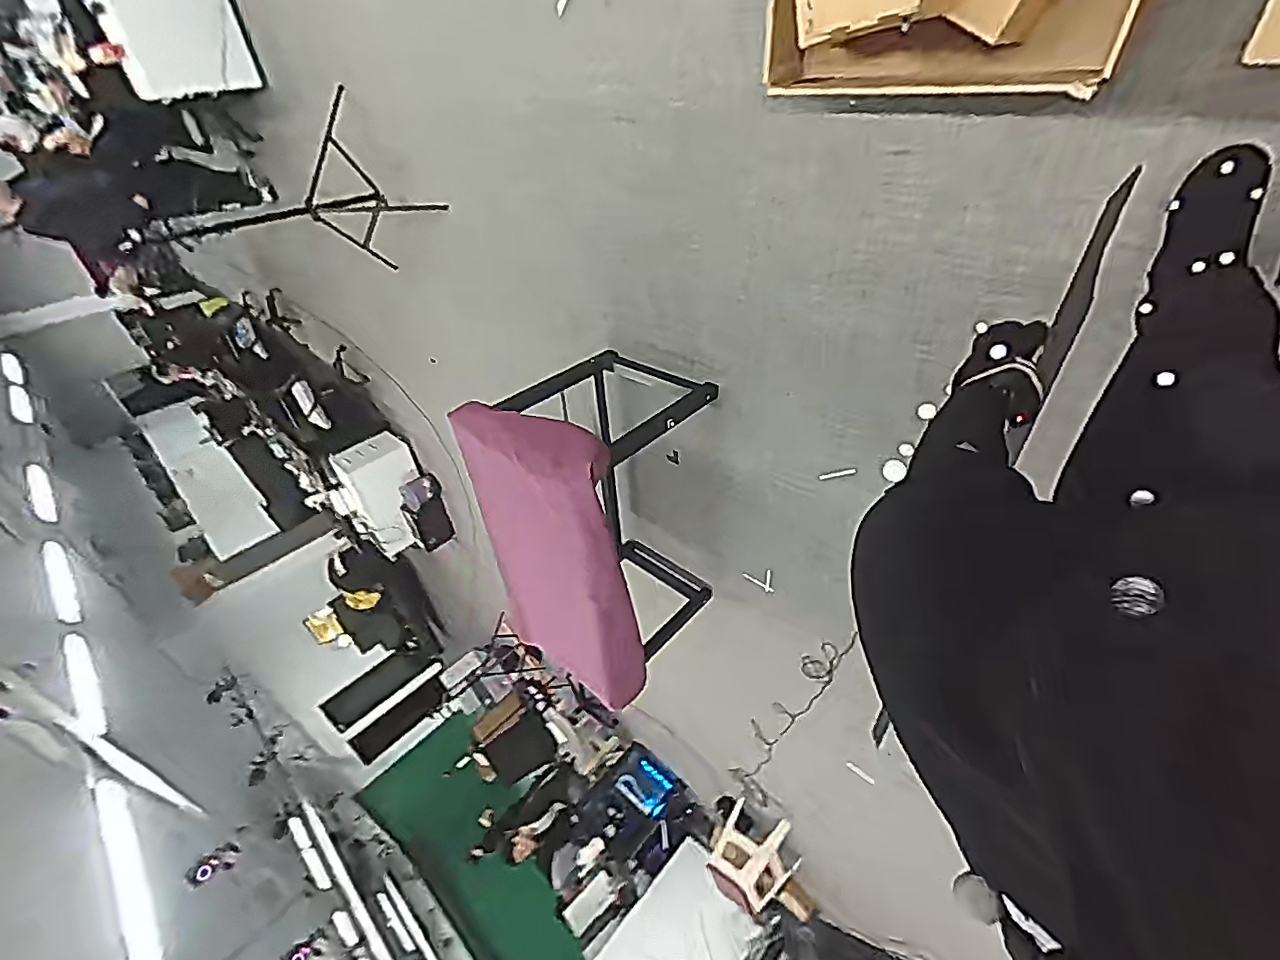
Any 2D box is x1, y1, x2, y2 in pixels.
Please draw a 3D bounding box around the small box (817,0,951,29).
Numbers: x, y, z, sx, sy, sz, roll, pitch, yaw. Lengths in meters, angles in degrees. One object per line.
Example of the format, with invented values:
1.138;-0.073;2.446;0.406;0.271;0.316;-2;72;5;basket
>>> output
0.389;-0.824;0.828;0.168;0.176;0.179;21;133;39;small box
